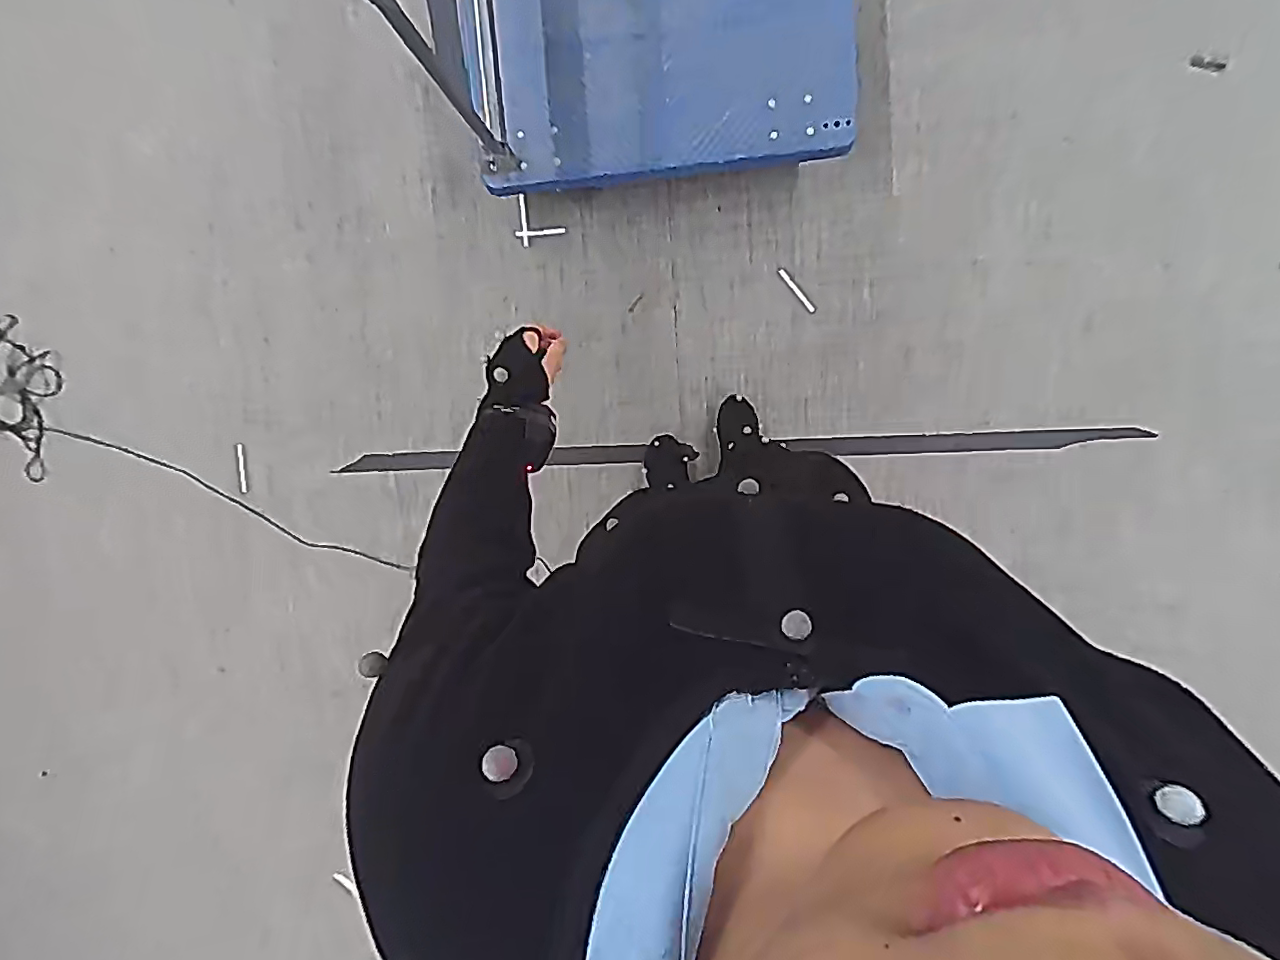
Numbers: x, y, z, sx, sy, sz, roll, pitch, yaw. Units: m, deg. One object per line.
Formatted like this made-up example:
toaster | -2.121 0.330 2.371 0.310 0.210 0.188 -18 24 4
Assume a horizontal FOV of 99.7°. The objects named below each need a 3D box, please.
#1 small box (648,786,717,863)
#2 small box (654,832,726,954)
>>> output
small box | 0.124 0.991 1.496 0.168 0.176 0.179 -14 94 4
small box | 0.123 1.012 1.334 0.168 0.176 0.179 -2 95 3
